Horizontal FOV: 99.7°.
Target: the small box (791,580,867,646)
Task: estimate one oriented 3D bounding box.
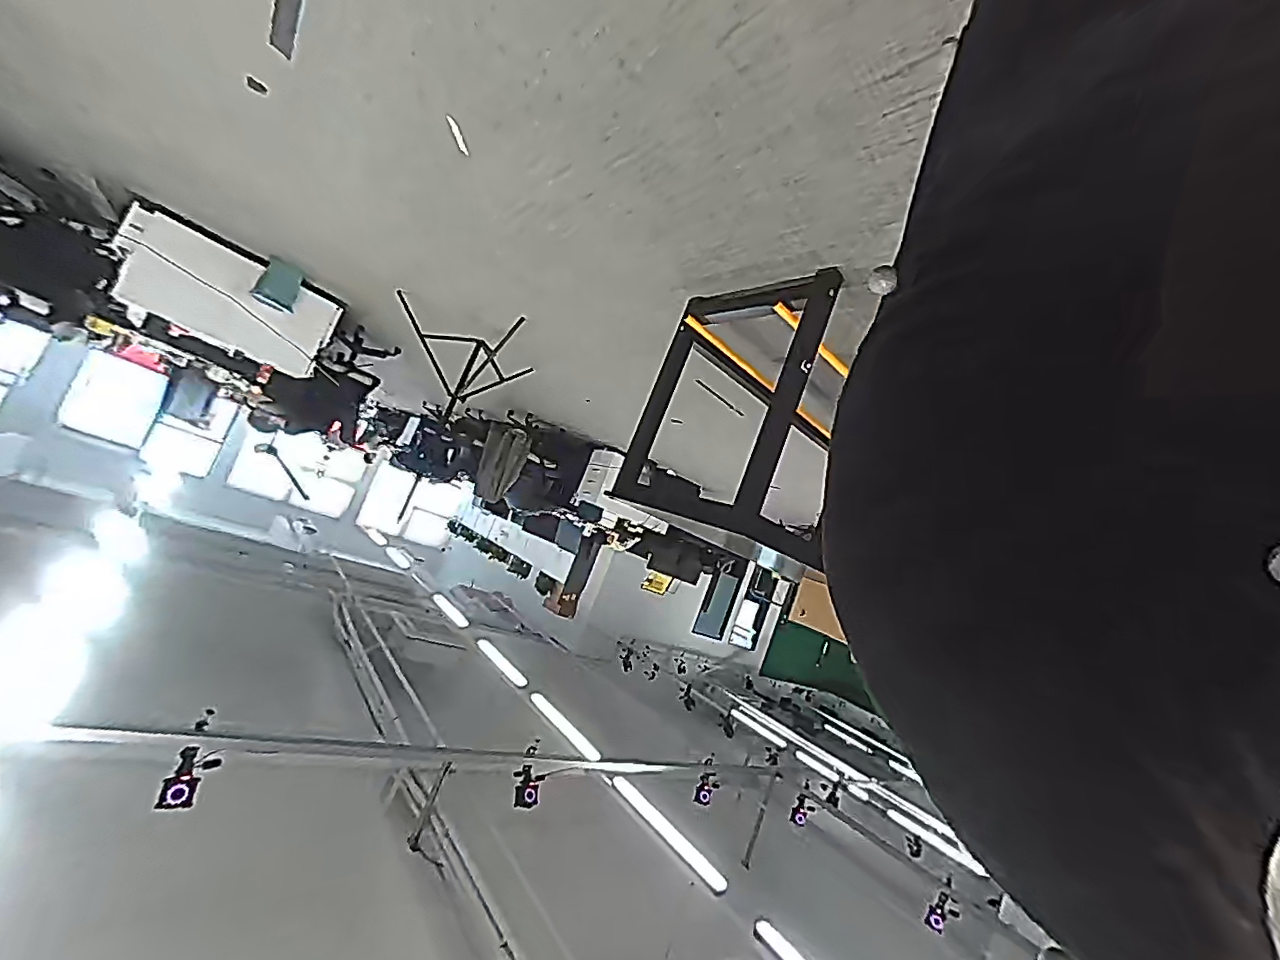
[{"bbox_3d":[0.681,0.471,1.941,0.168,0.176,0.179,27,172,-38],"label":"small box"}]
